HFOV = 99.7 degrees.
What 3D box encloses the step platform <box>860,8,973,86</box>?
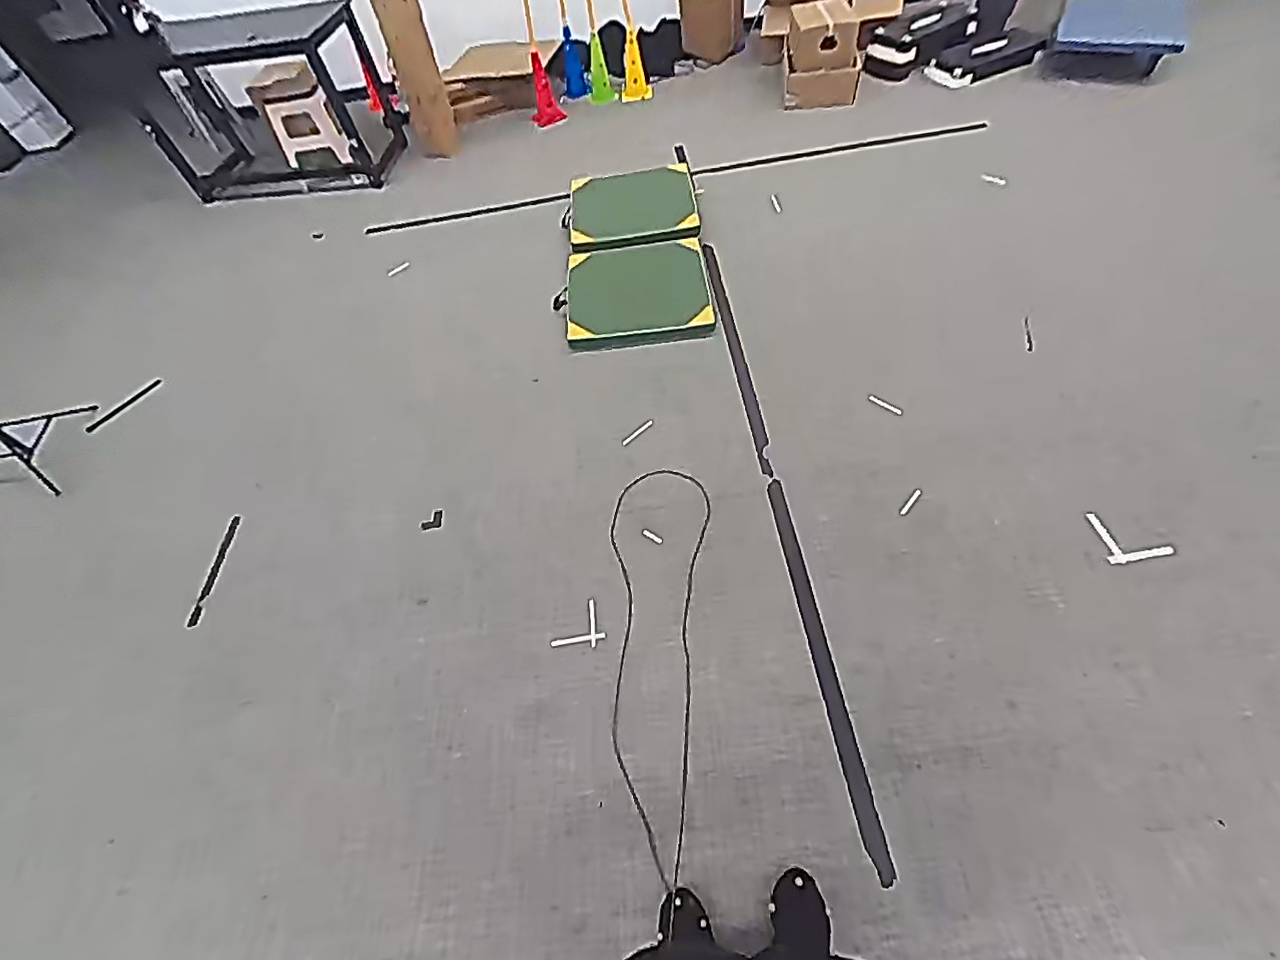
[{"bbox_3d":[1.699,-2.666,3.320,0.684,0.204,0.286,-32,58,-14],"label":"step platform"}]
